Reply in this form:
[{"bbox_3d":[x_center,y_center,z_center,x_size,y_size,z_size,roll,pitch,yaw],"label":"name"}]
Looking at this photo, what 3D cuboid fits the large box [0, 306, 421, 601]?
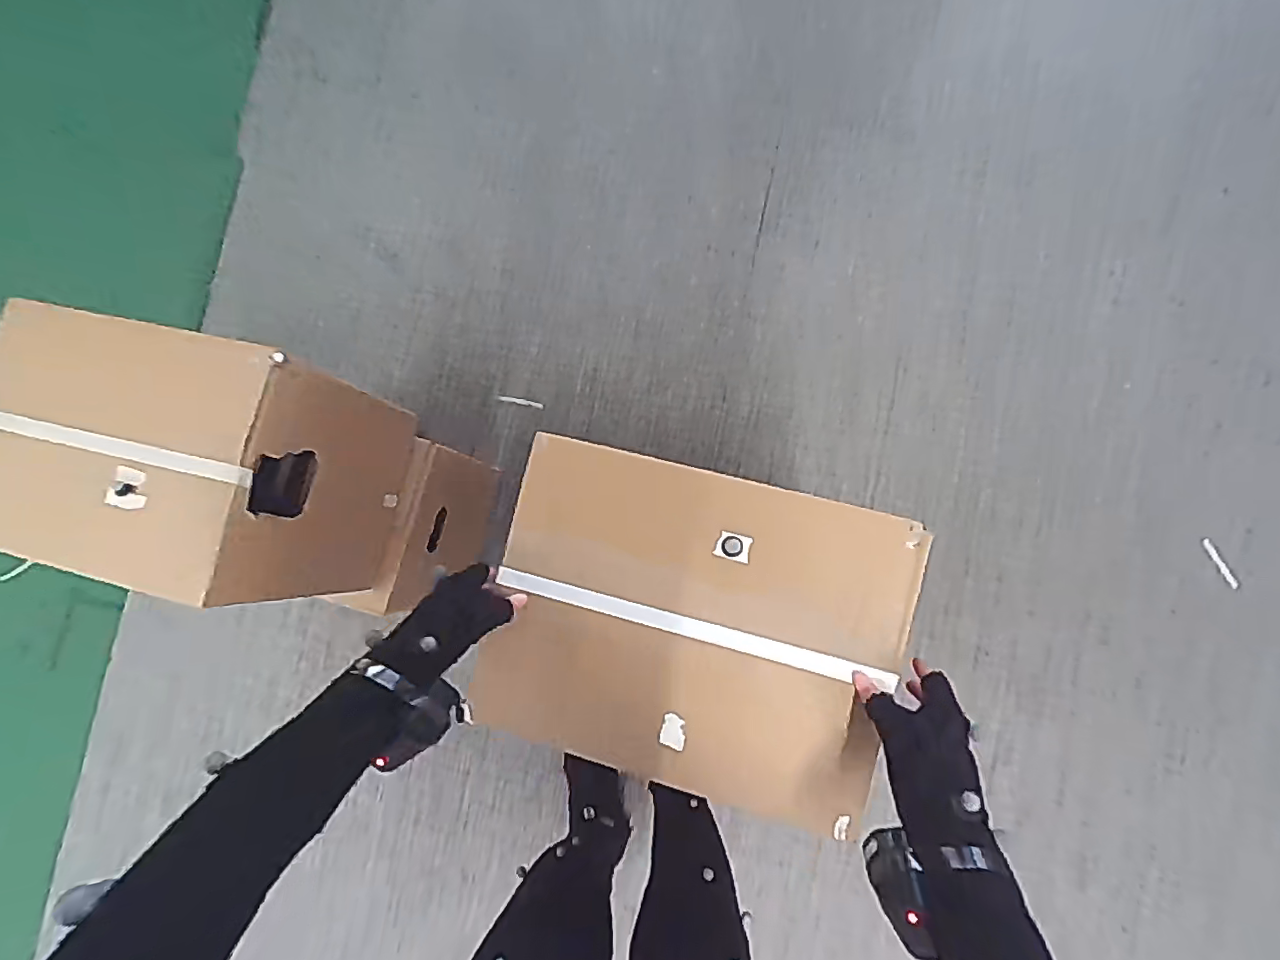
[{"bbox_3d":[-0.621,-0.022,0.810,0.408,0.320,0.320,12,83,8],"label":"large box"}]
